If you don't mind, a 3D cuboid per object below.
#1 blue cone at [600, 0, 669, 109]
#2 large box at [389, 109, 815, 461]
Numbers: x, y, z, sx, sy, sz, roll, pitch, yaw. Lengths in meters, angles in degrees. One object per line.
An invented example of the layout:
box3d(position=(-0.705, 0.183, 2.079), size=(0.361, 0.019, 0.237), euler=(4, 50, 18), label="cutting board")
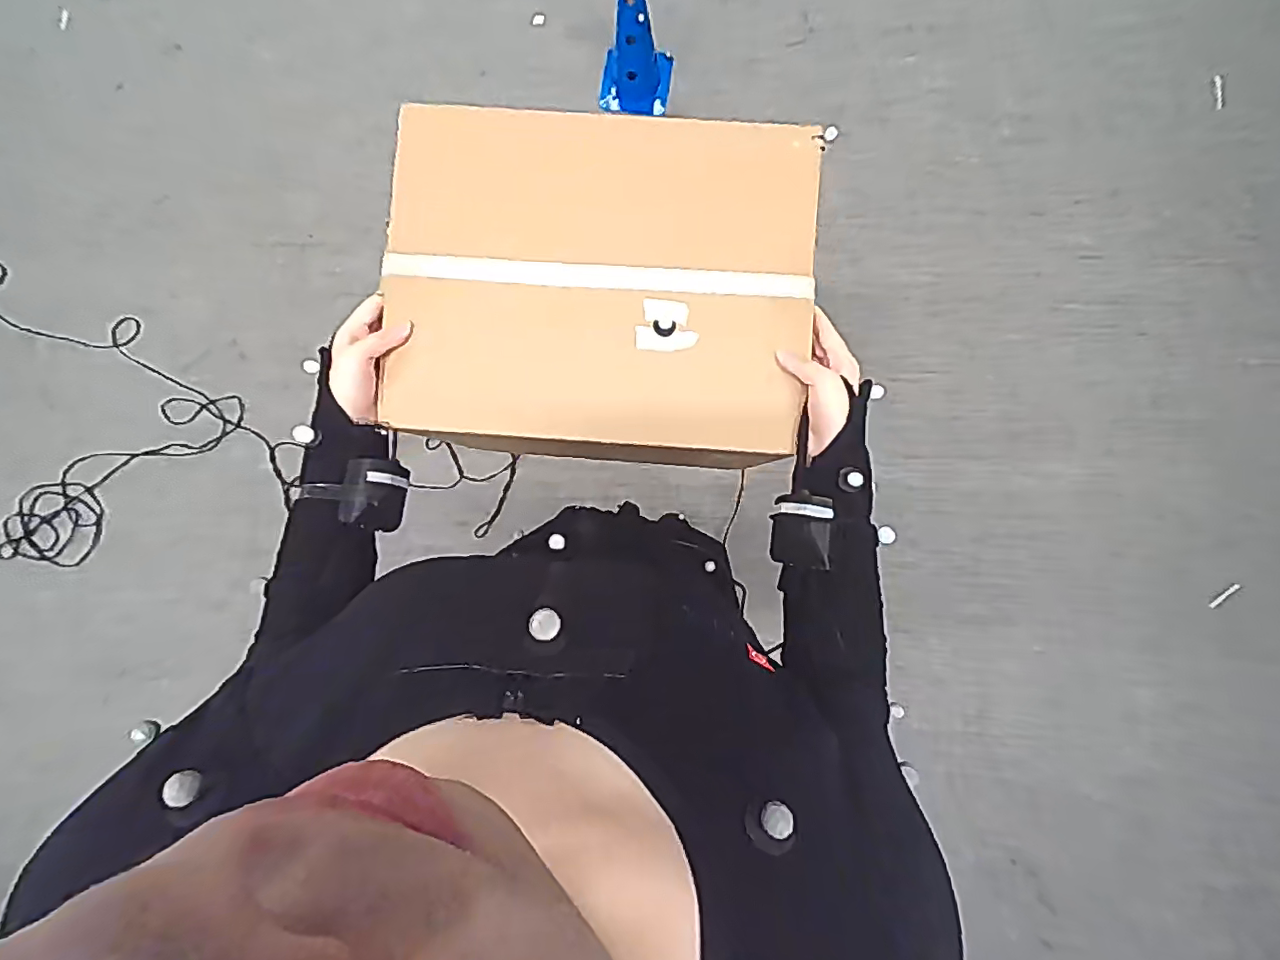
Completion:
box3d(position=(-0.022, -1.205, 1.436), size=(0.193, 0.380, 0.192), euler=(10, 86, 2), label="blue cone")
box3d(position=(-0.038, -0.194, 0.668), size=(0.408, 0.320, 0.320), euler=(4, 89, 0), label="large box")
